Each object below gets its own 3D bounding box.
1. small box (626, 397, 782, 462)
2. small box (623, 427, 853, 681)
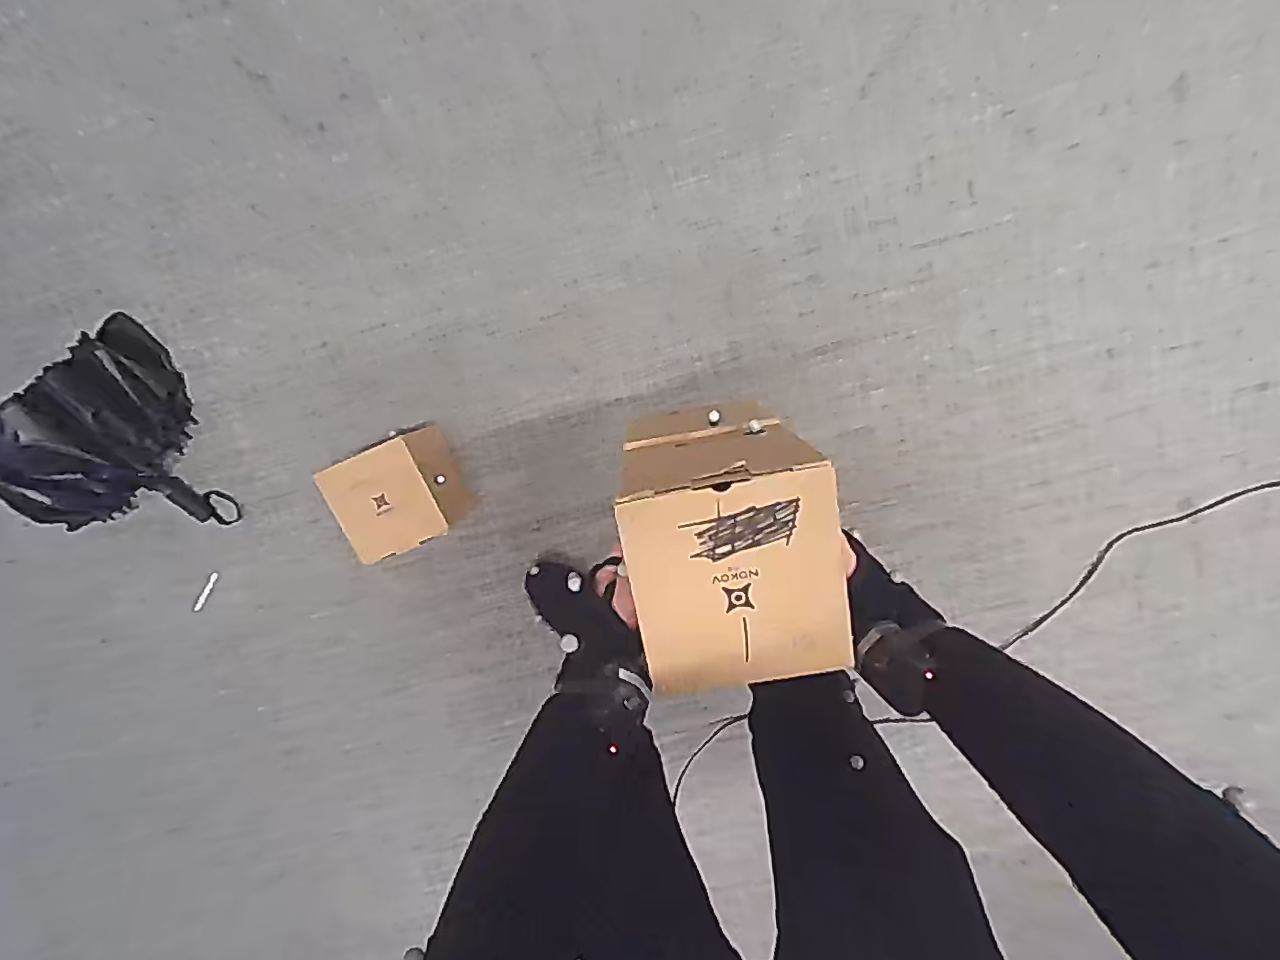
[{"bbox_3d":[0.083,0.005,0.663,0.168,0.176,0.179,-10,105,4],"label":"small box"},{"bbox_3d":[0.081,0.053,0.505,0.168,0.176,0.179,-11,105,5],"label":"small box"}]
